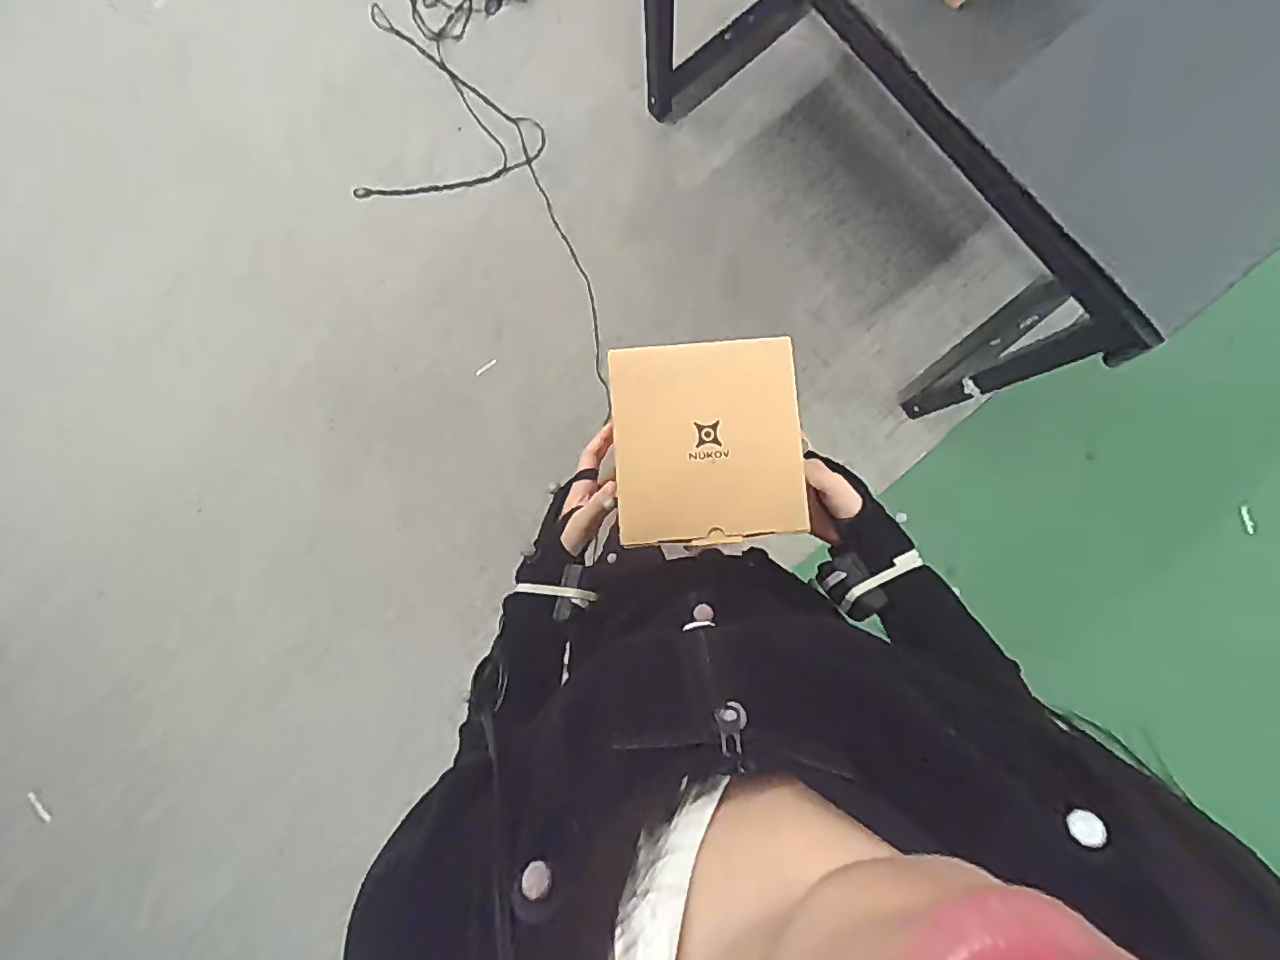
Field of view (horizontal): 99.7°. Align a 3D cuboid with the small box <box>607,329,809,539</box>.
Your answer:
[{"bbox_3d":[0.054,-0.033,0.542,0.168,0.176,0.179,-5,85,-1],"label":"small box"}]
